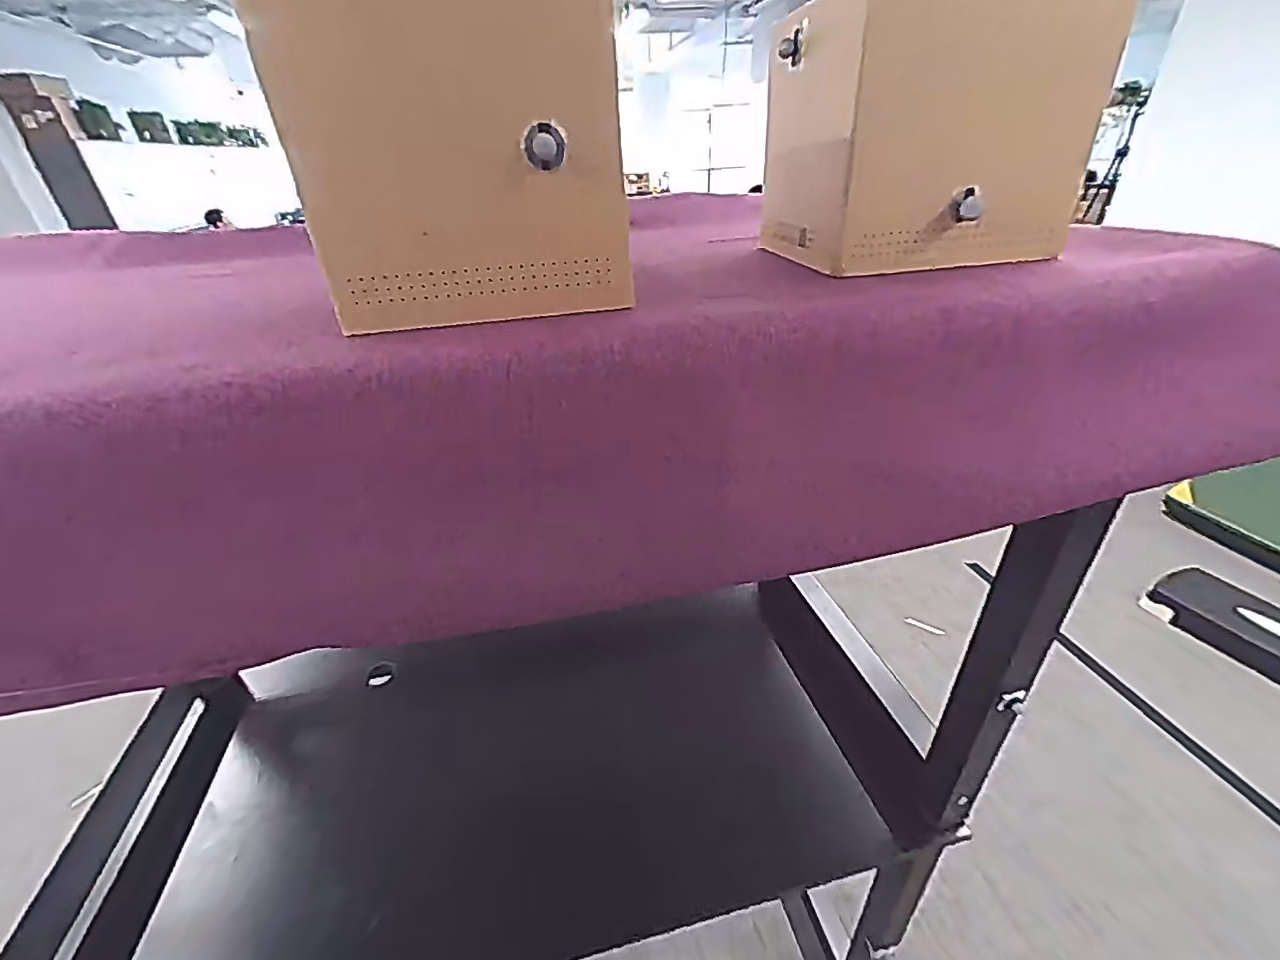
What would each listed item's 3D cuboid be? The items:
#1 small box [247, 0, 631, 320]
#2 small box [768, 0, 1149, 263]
[{"bbox_3d":[-0.103,-0.212,0.352,0.179,0.176,0.168,-8,30,-7],"label":"small box"},{"bbox_3d":[0.210,-0.270,0.411,0.179,0.176,0.168,-7,30,-5],"label":"small box"}]
